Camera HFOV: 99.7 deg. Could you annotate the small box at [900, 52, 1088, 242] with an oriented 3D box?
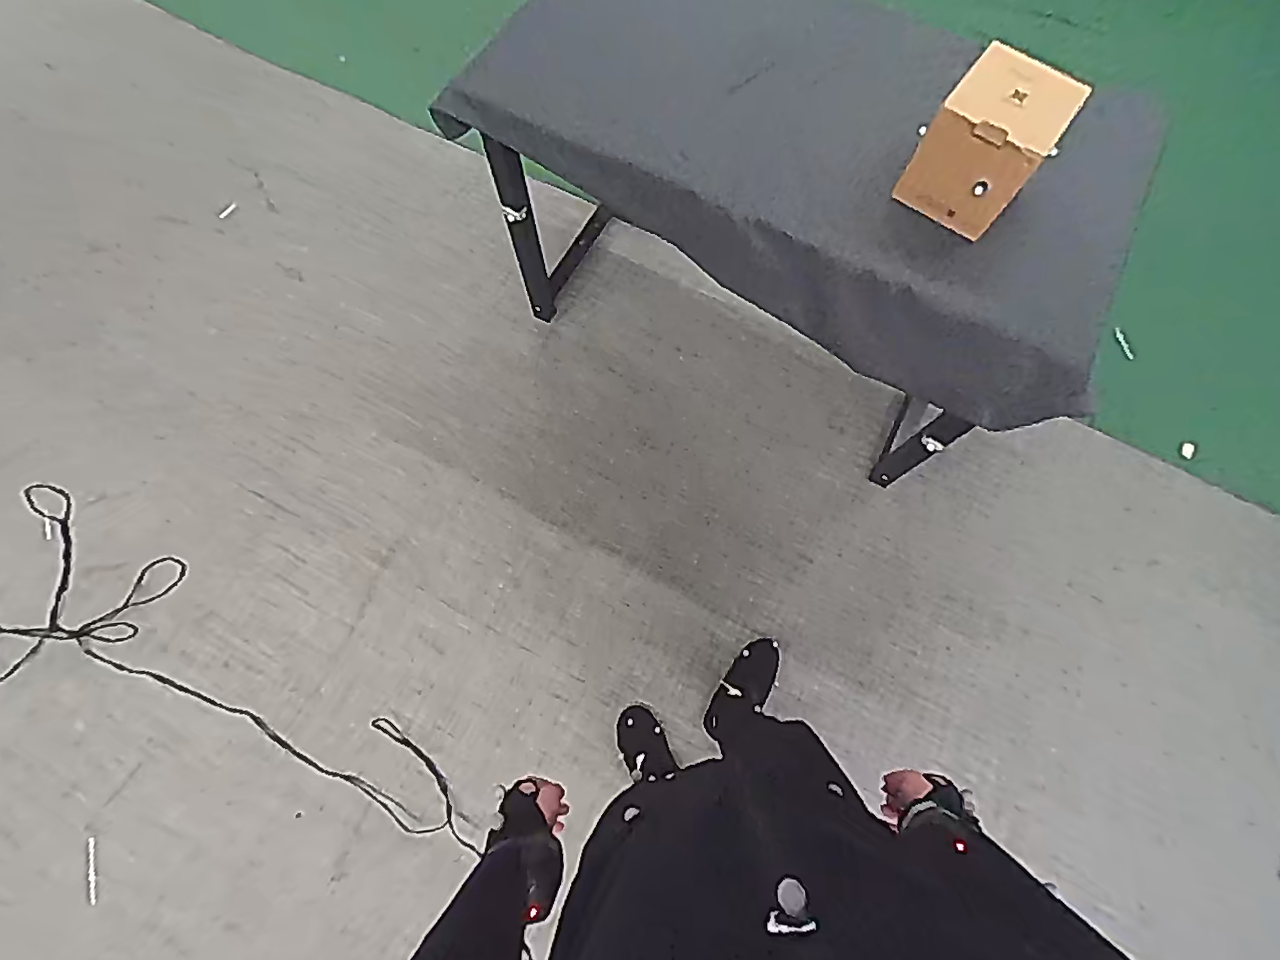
[{"bbox_3d":[0.562,-0.533,0.884,0.168,0.176,0.179,37,74,9],"label":"small box"}]
